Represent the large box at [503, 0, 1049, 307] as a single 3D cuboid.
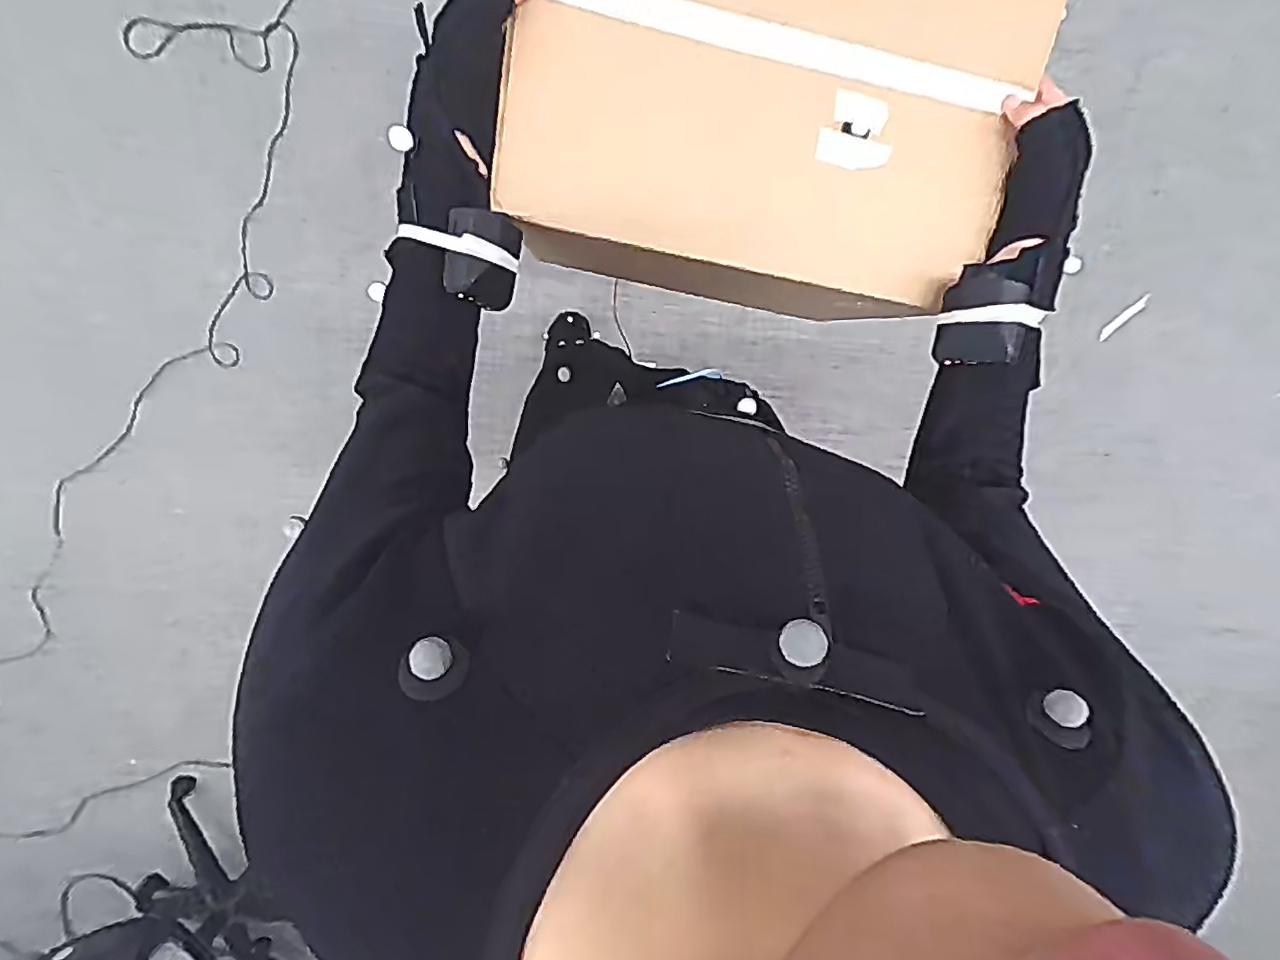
[{"bbox_3d":[0.095,-0.375,0.556,0.408,0.320,0.320,9,106,-8],"label":"large box"}]
